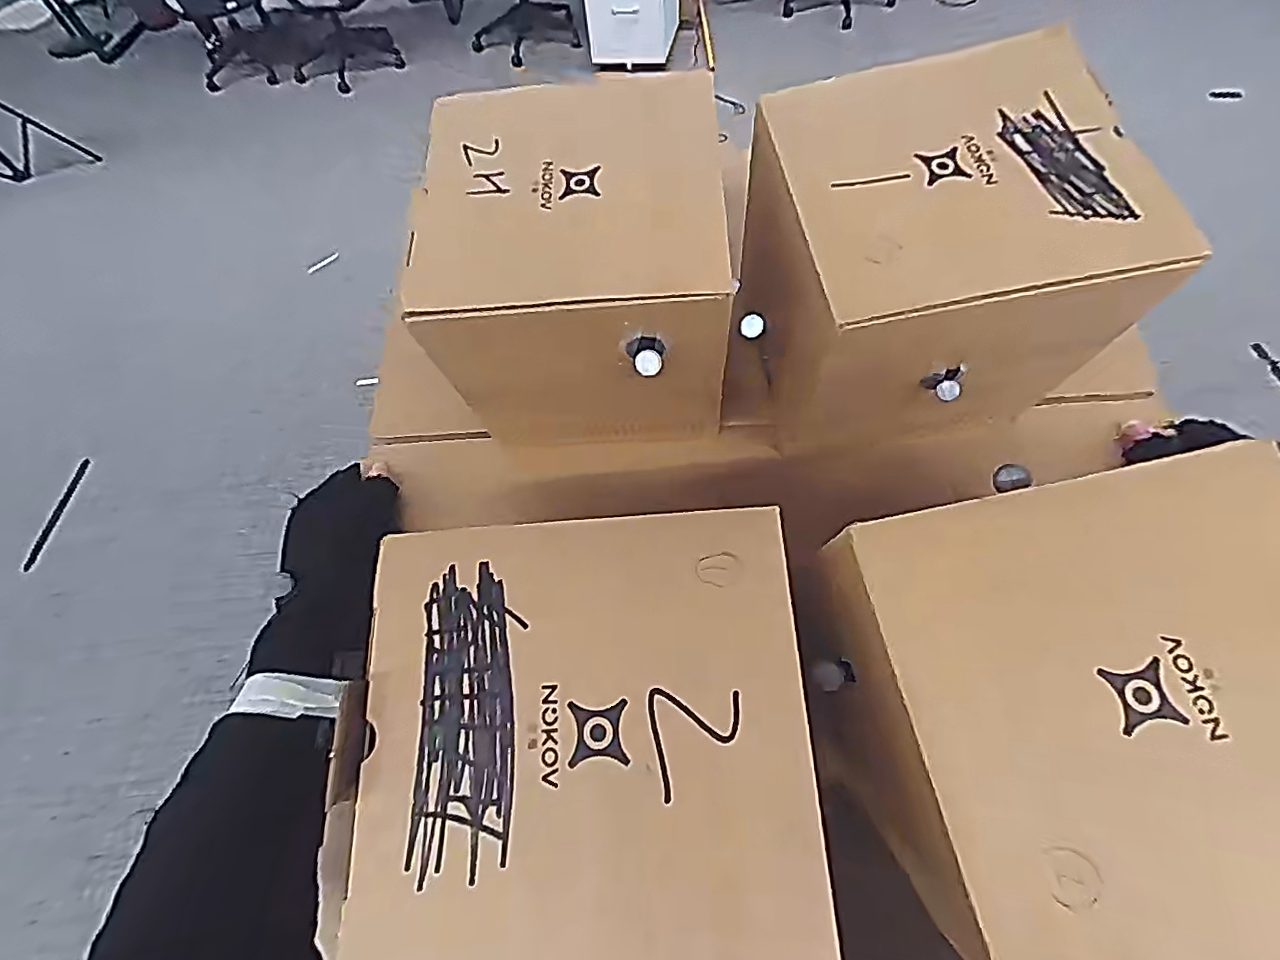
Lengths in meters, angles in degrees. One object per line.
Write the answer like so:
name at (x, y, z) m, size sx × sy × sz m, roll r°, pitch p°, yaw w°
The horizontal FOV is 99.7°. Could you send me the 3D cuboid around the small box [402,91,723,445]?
small box at (-0.036, -0.134, 0.389) m, size 0.179 × 0.176 × 0.168 m, roll -2°, pitch 69°, yaw 6°
